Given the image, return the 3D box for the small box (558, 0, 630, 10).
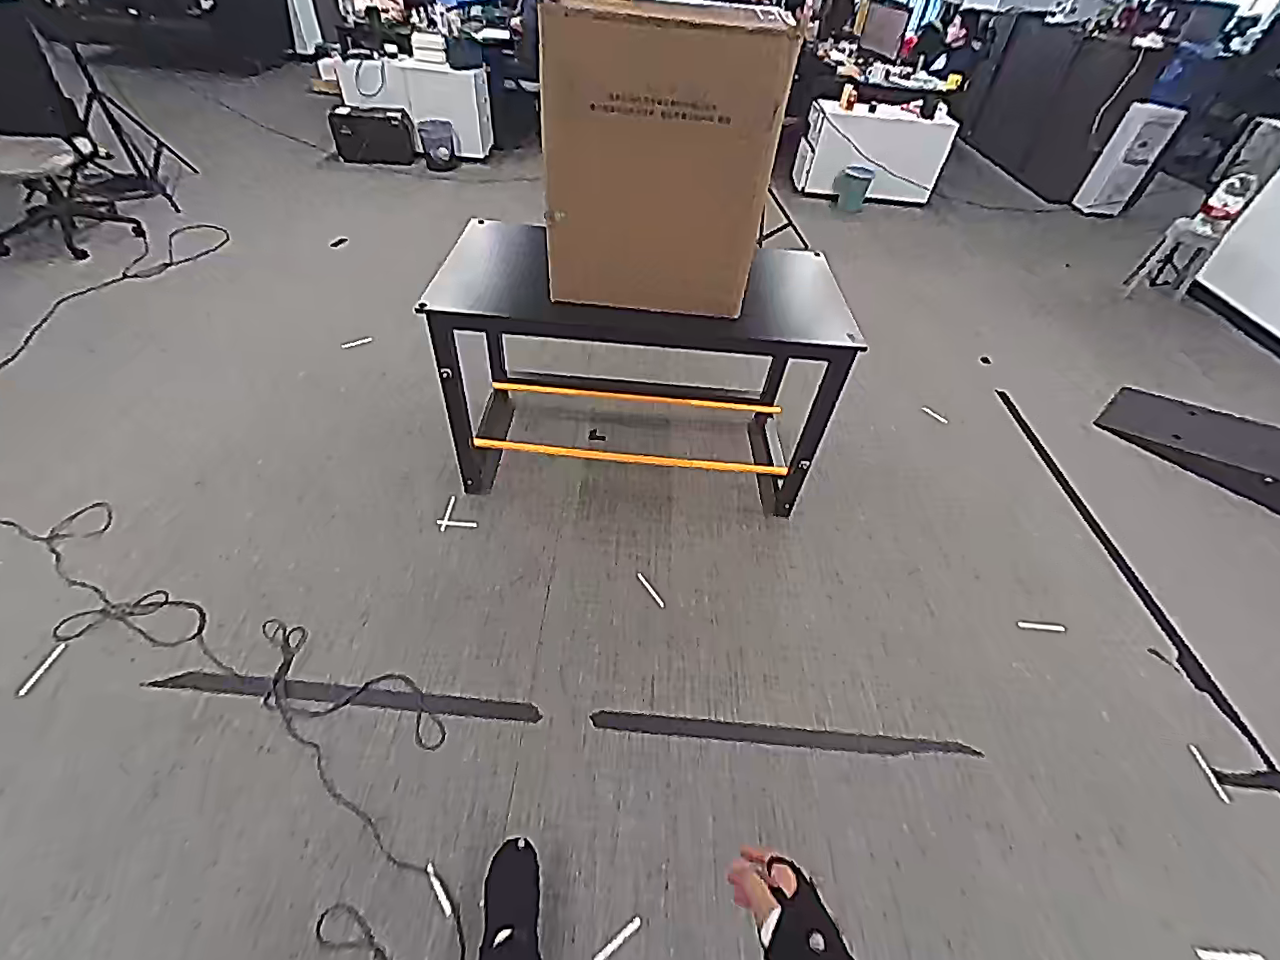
[{"bbox_3d":[-0.101,-1.128,1.151,0.168,0.176,0.179,1,45,-4],"label":"small box"}]
